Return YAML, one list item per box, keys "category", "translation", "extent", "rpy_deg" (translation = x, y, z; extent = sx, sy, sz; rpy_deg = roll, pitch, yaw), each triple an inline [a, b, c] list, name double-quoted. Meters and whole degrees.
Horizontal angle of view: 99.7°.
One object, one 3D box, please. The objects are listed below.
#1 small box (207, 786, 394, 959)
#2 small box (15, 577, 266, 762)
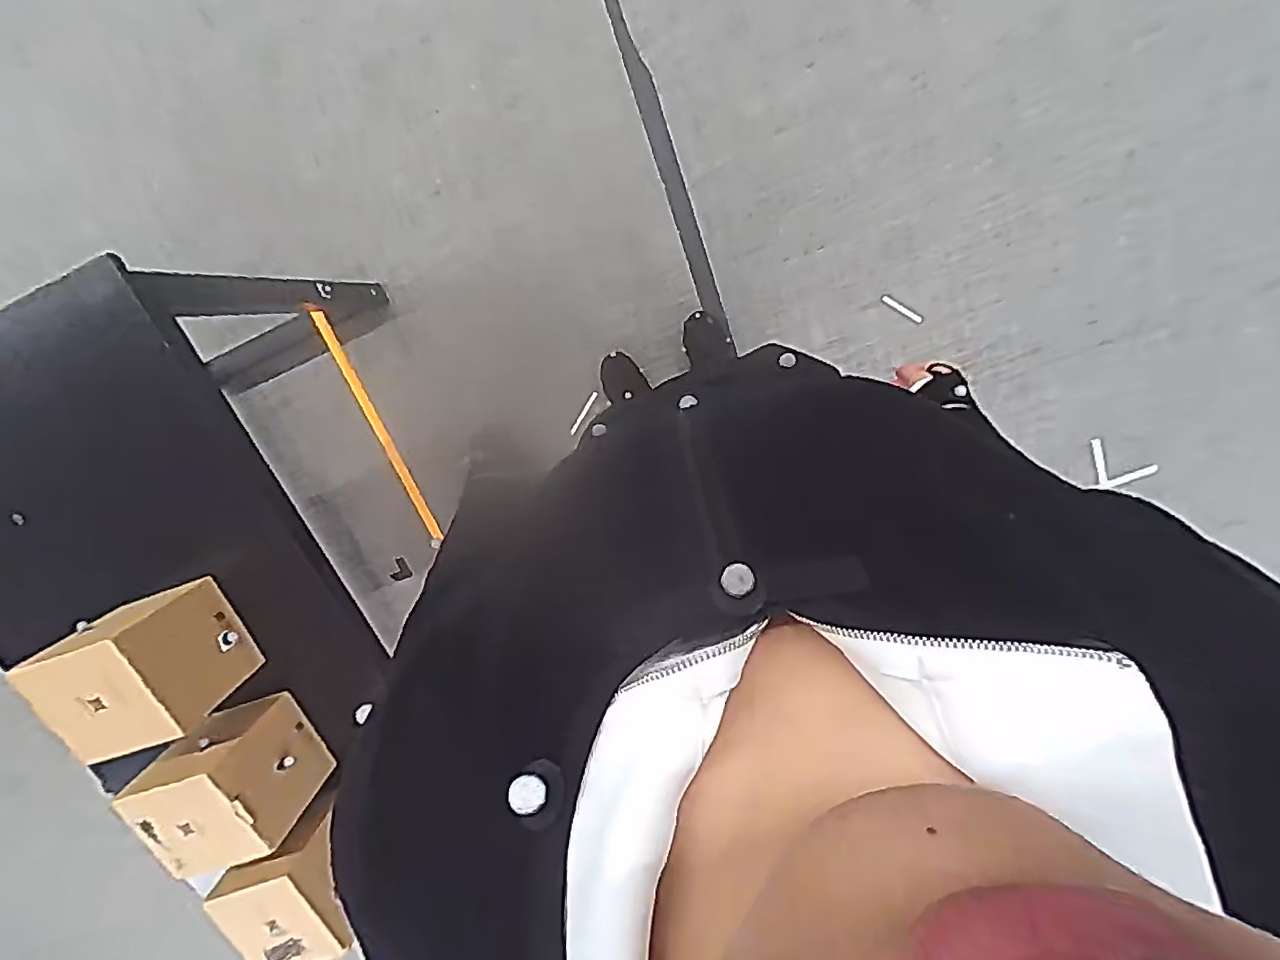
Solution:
- category: "small box"
  translation: [-0.556, 0.665, 0.916]
  extent: [0.168, 0.176, 0.179]
  rpy_deg: [-22, 104, 9]
- category: "small box"
  translation: [-0.715, 0.271, 0.799]
  extent: [0.179, 0.176, 0.168]
  rpy_deg: [-20, 108, 7]
